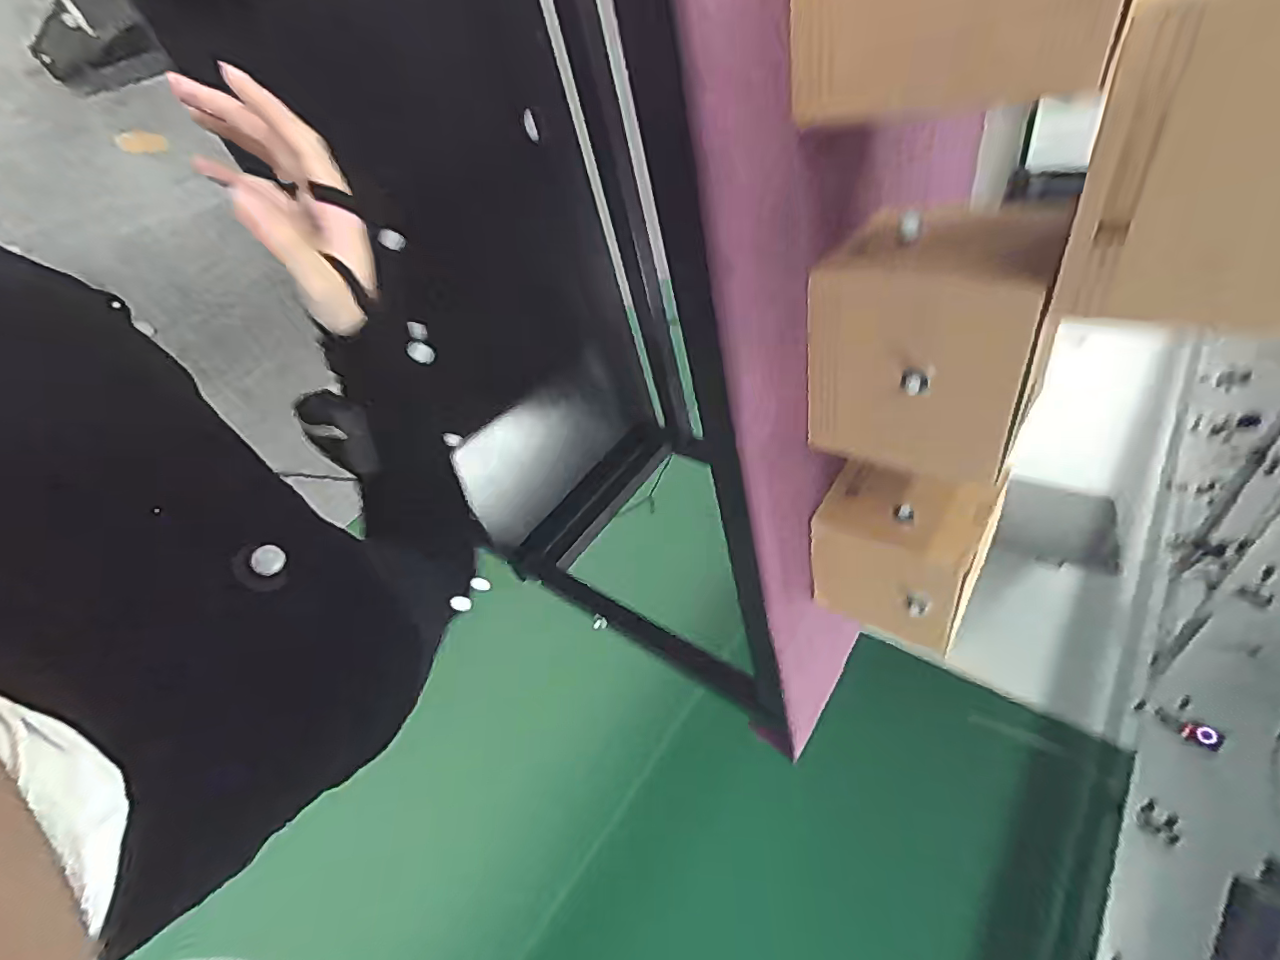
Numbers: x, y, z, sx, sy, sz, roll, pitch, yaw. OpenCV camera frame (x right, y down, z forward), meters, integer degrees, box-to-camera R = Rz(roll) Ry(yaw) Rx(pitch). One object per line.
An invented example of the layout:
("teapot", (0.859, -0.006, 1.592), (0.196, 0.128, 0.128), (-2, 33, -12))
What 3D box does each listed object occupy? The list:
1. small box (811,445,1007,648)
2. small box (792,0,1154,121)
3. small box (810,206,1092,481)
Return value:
("small box", (0.324, 0.068, 0.672), (0.168, 0.176, 0.179), (-47, 139, -29))
("small box", (0.196, -0.327, 0.302), (0.168, 0.176, 0.179), (-45, 139, -30))
("small box", (0.265, -0.132, 0.490), (0.168, 0.176, 0.179), (-45, 137, -32))
